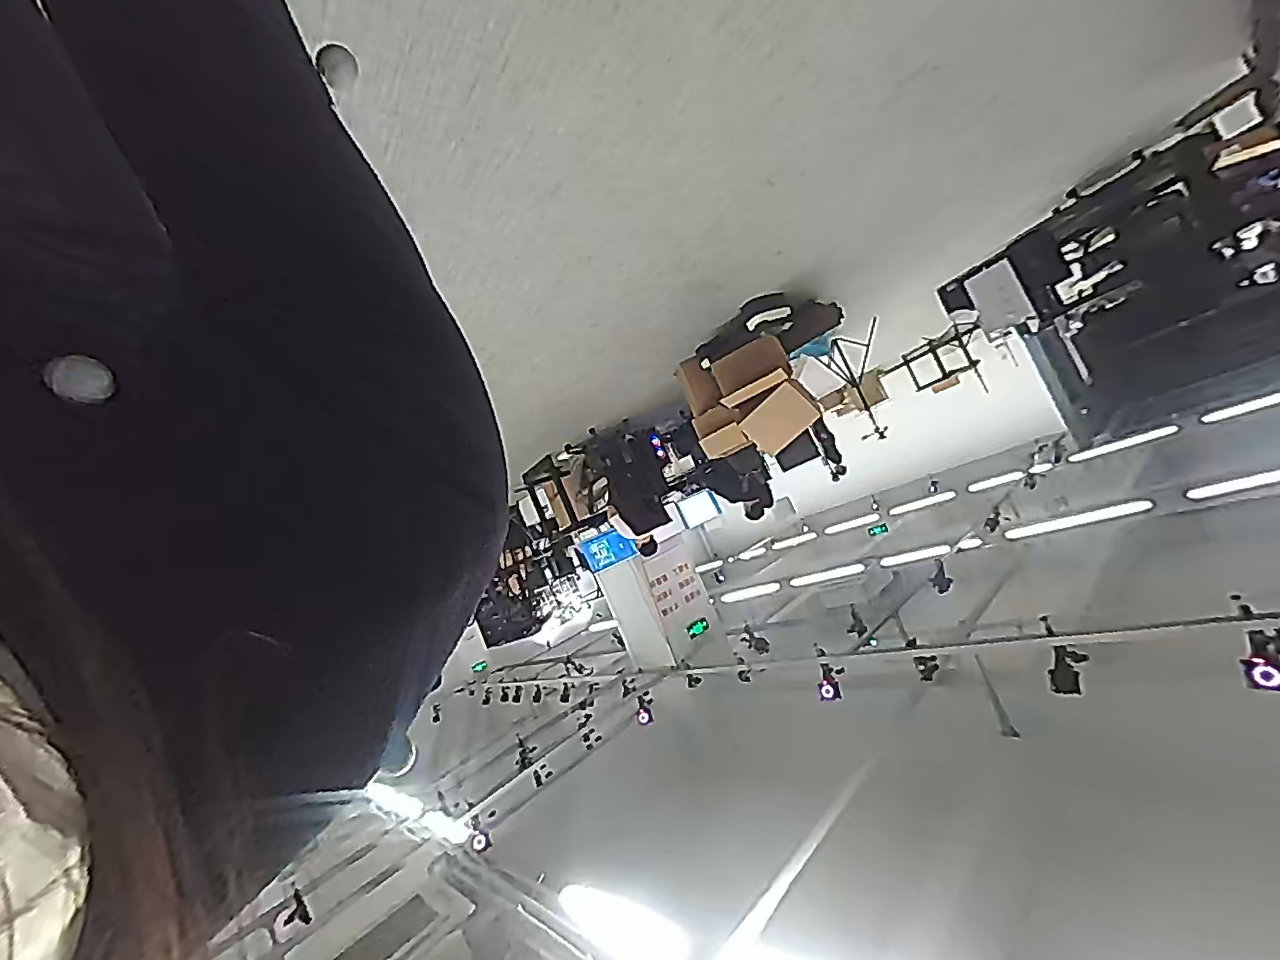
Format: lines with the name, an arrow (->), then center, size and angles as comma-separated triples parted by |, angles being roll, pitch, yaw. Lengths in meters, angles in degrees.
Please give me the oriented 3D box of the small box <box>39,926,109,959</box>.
small box -> -1.717, 1.490, 1.603 | 0.179, 0.176, 0.168 | -23, 173, -37
